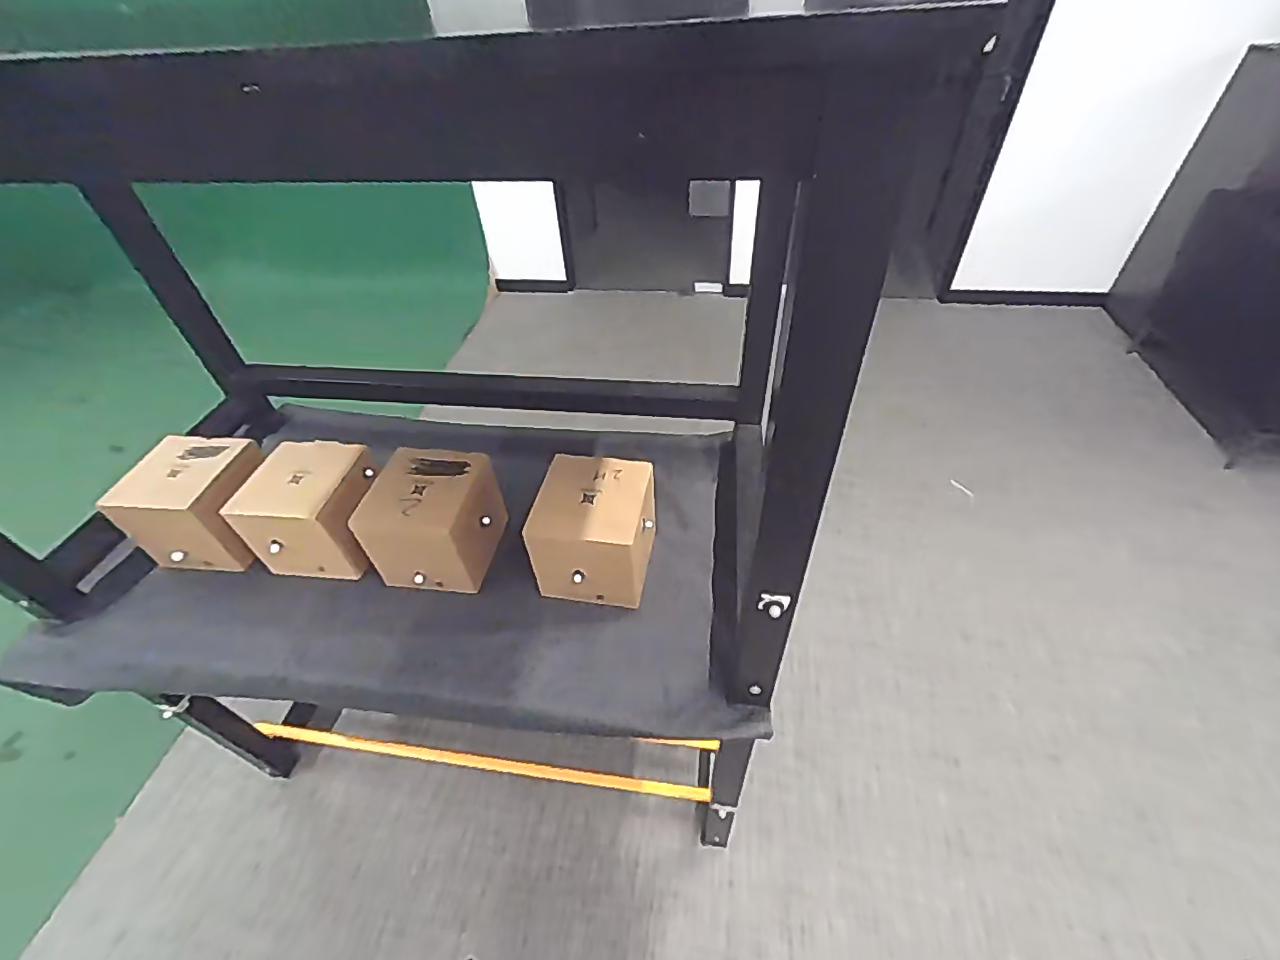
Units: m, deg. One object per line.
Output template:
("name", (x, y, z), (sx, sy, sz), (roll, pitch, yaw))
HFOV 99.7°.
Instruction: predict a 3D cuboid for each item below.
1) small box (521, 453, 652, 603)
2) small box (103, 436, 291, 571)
("small box", (-0.075, 0.080, 0.886), (0.168, 0.176, 0.179), (6, 45, 10))
("small box", (-0.777, 0.040, 0.978), (0.168, 0.176, 0.179), (2, 45, 6))
